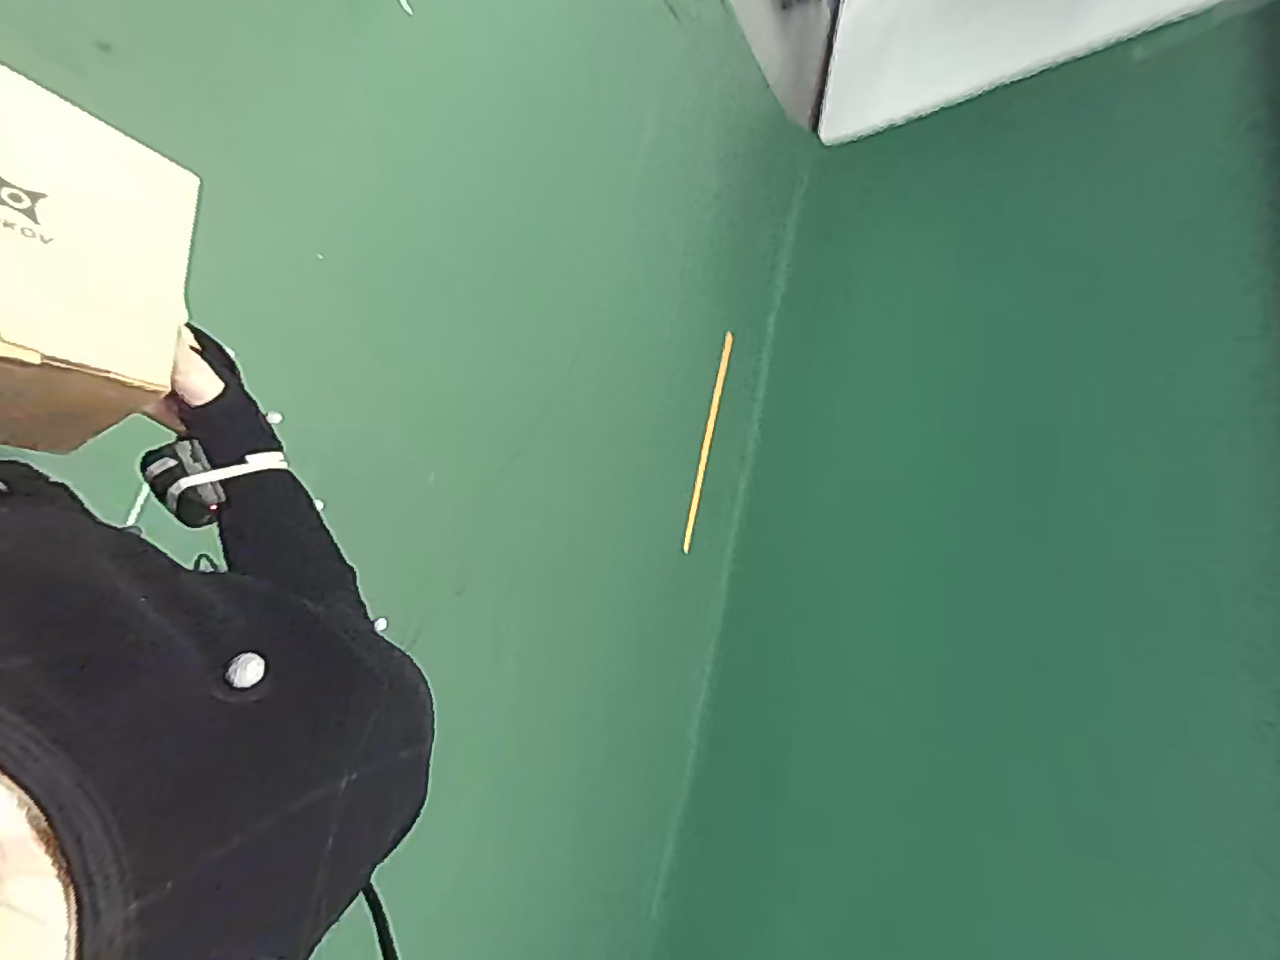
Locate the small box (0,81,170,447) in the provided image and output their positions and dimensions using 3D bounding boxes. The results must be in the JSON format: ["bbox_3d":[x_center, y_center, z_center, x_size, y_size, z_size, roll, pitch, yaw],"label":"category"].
[{"bbox_3d":[-0.440,-0.137,0.335,0.168,0.176,0.179,20,59,-61],"label":"small box"}]
